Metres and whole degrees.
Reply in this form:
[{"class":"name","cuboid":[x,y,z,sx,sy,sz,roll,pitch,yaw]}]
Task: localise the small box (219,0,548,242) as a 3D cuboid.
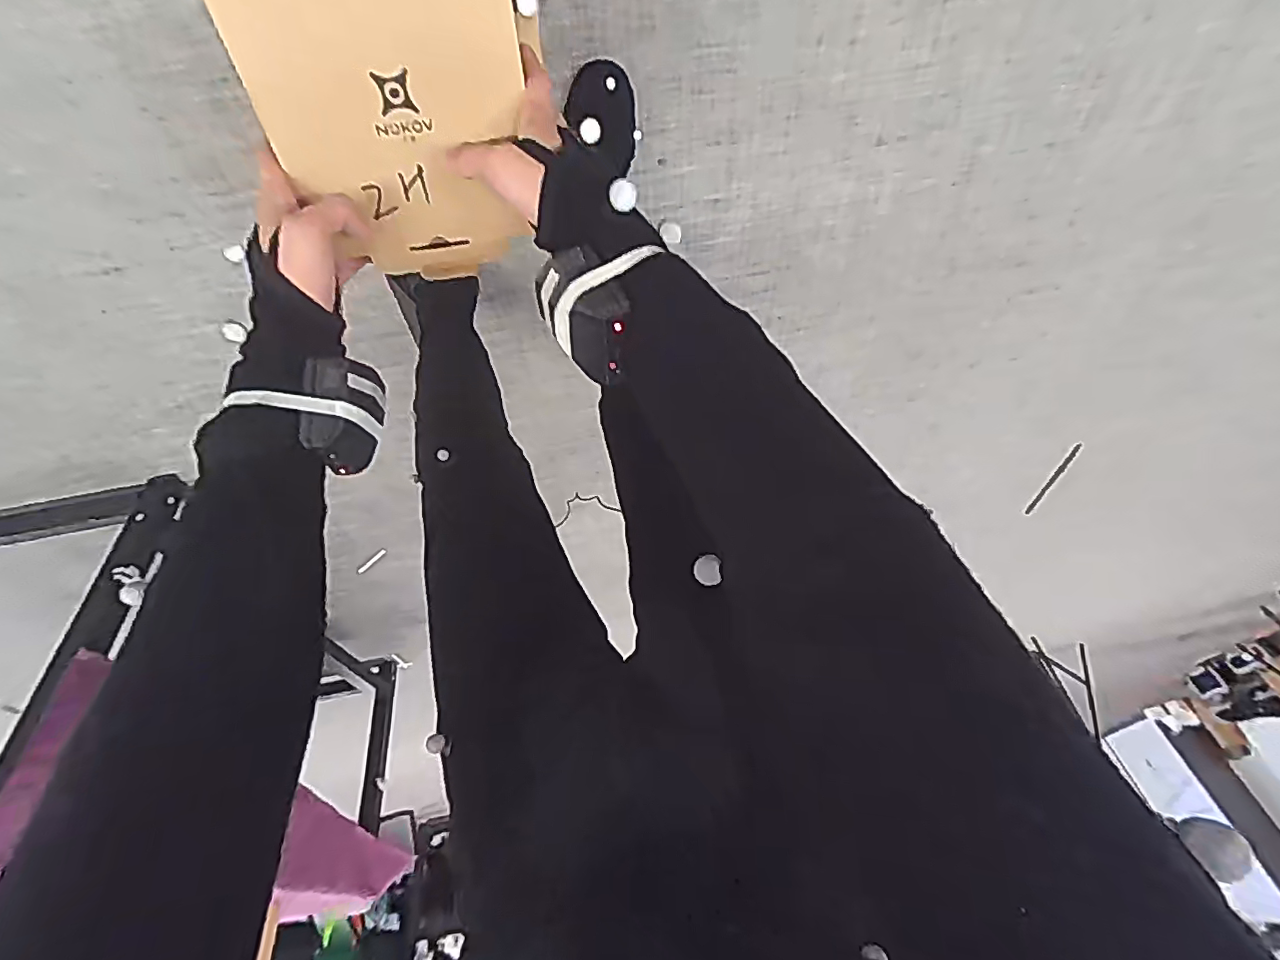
[{"class":"small box","cuboid":[-0.166,-0.300,0.391,0.168,0.176,0.179,-9,138,-7]}]
